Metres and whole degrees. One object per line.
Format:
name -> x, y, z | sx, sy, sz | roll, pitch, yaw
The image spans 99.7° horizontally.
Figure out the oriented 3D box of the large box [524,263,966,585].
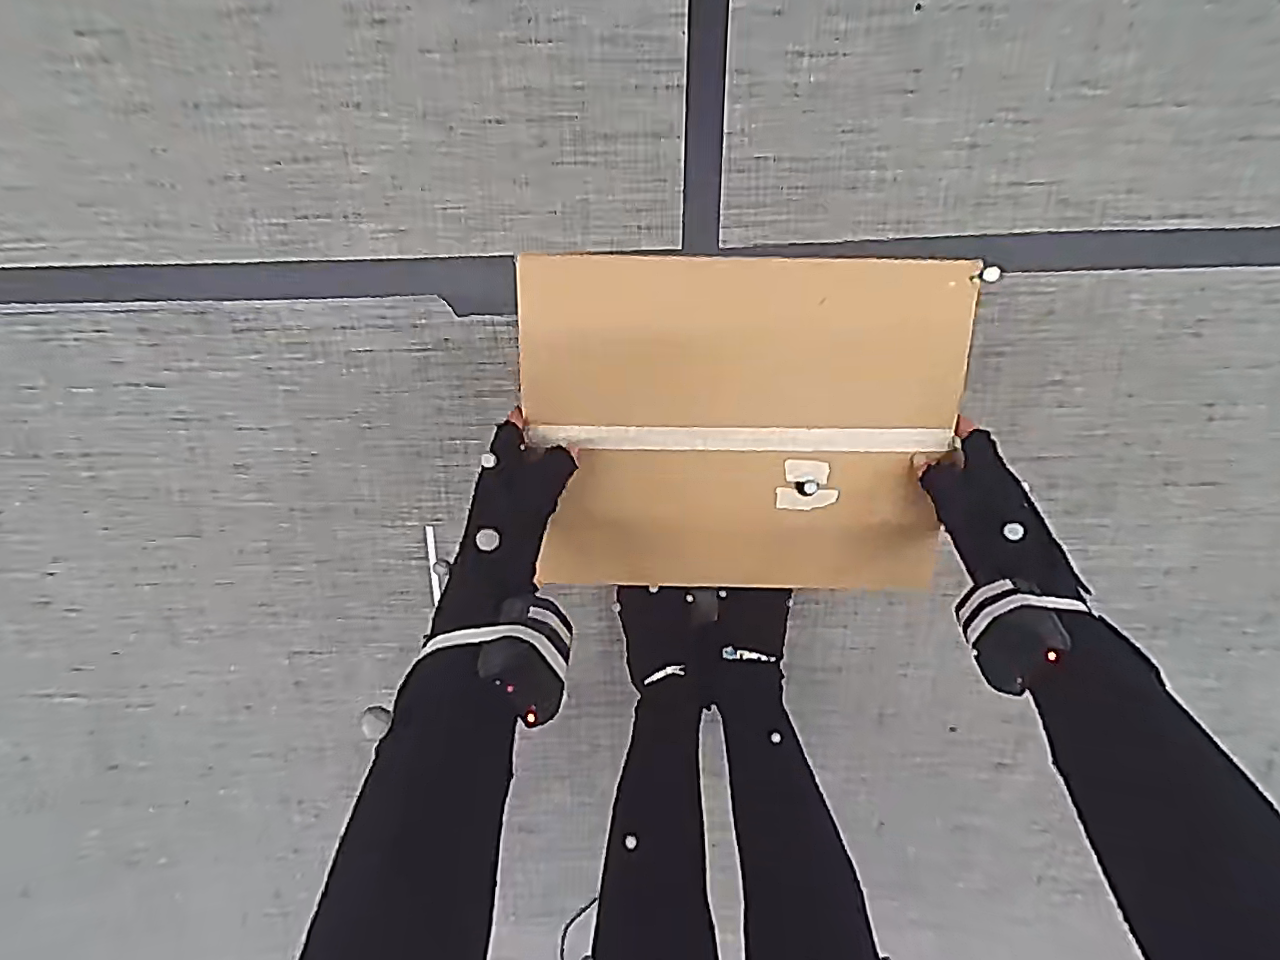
large box -> 0.093, -0.080, 0.662 | 0.408, 0.320, 0.320 | 0, 106, 0
